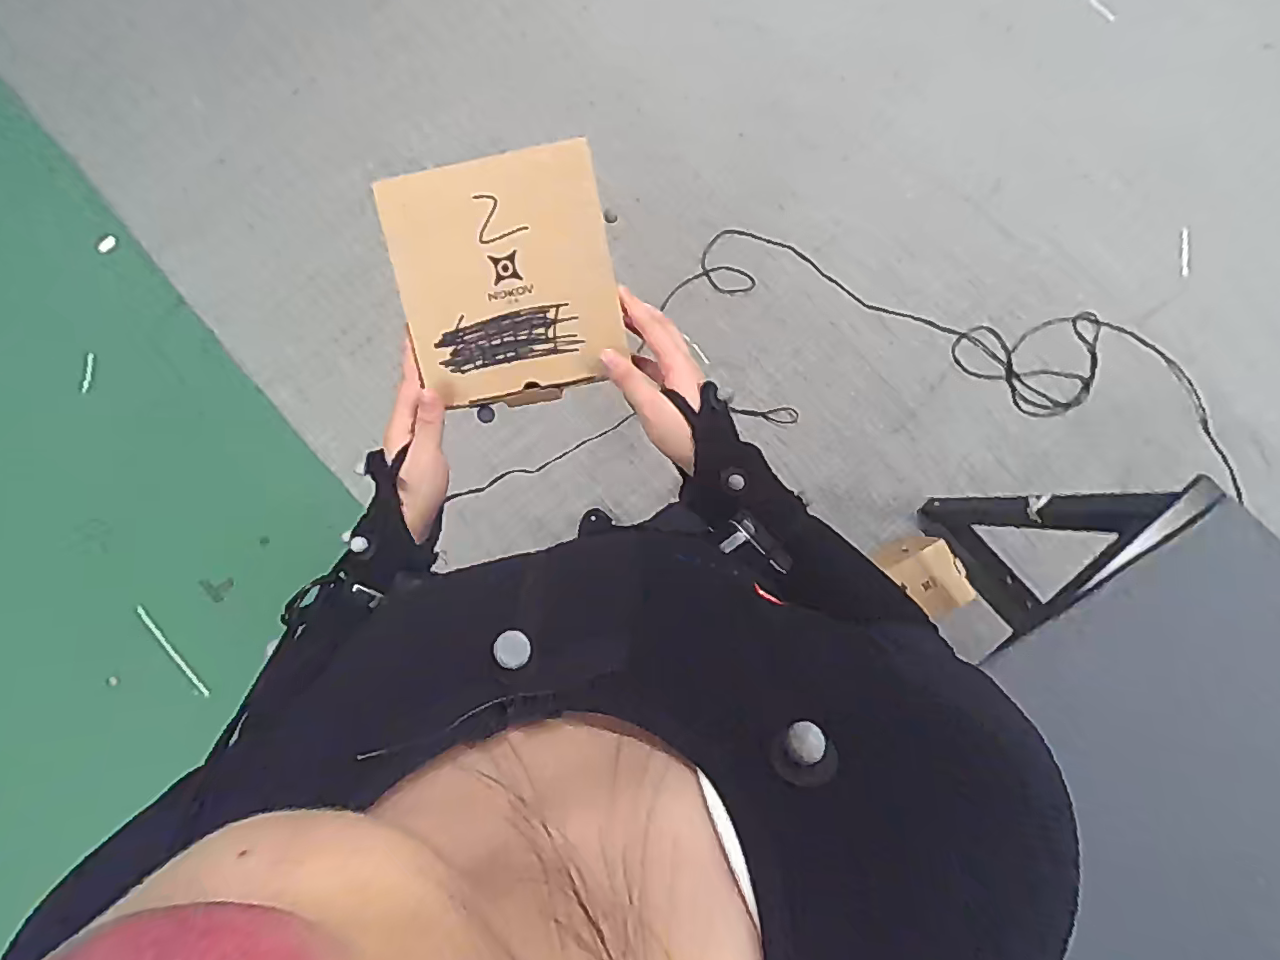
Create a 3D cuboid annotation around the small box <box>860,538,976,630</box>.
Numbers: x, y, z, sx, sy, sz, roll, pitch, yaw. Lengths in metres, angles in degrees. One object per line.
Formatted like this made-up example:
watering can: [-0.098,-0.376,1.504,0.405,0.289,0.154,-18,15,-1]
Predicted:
small box: [0.710,0.260,1.402,0.179,0.176,0.168,-29,87,-2]
